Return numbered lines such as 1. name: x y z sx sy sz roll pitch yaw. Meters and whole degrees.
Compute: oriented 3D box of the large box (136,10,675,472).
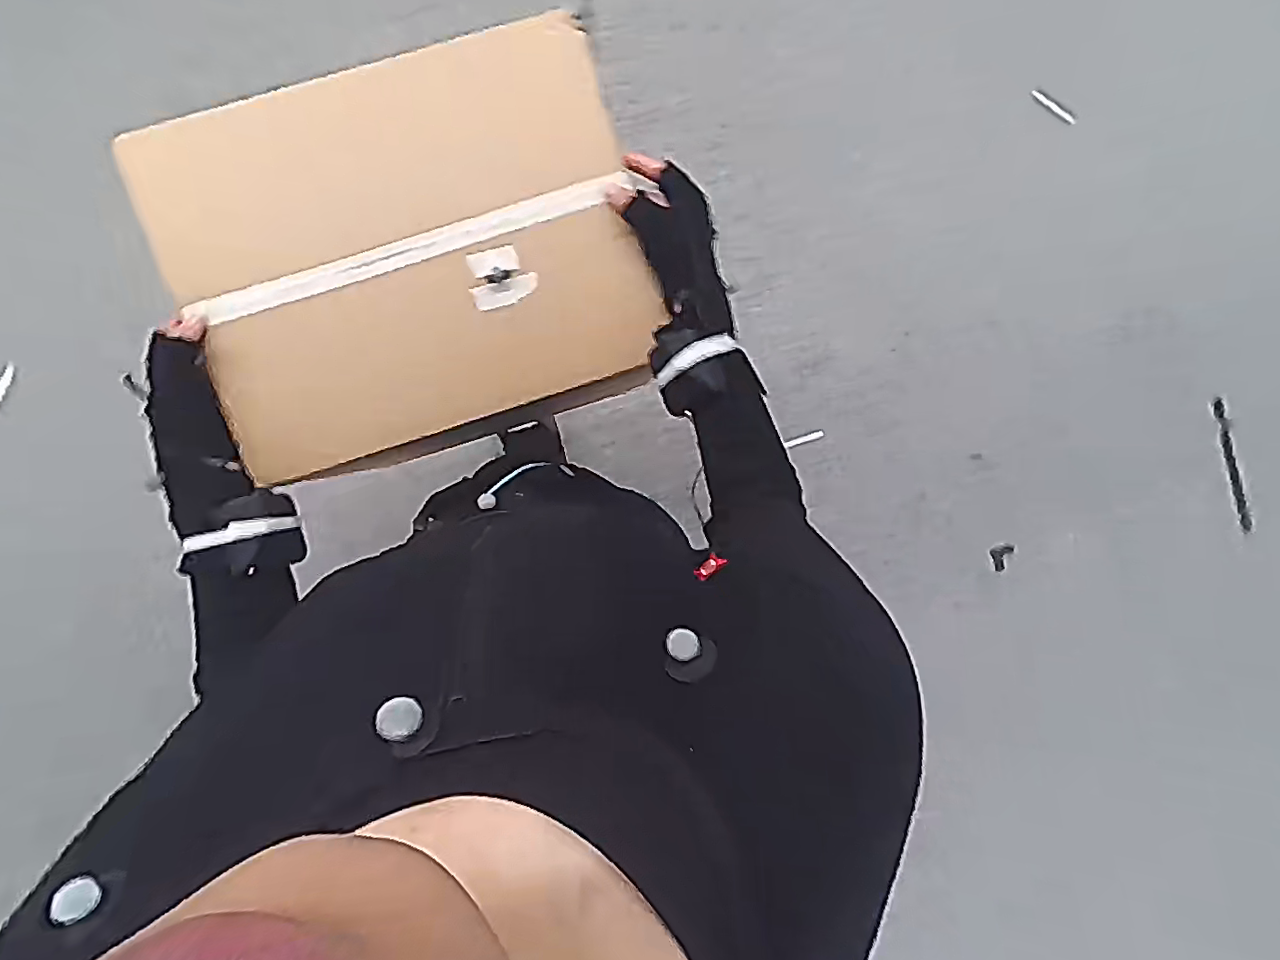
1. large box: -0.214 -0.225 0.636 0.408 0.320 0.320 -19 97 -4
